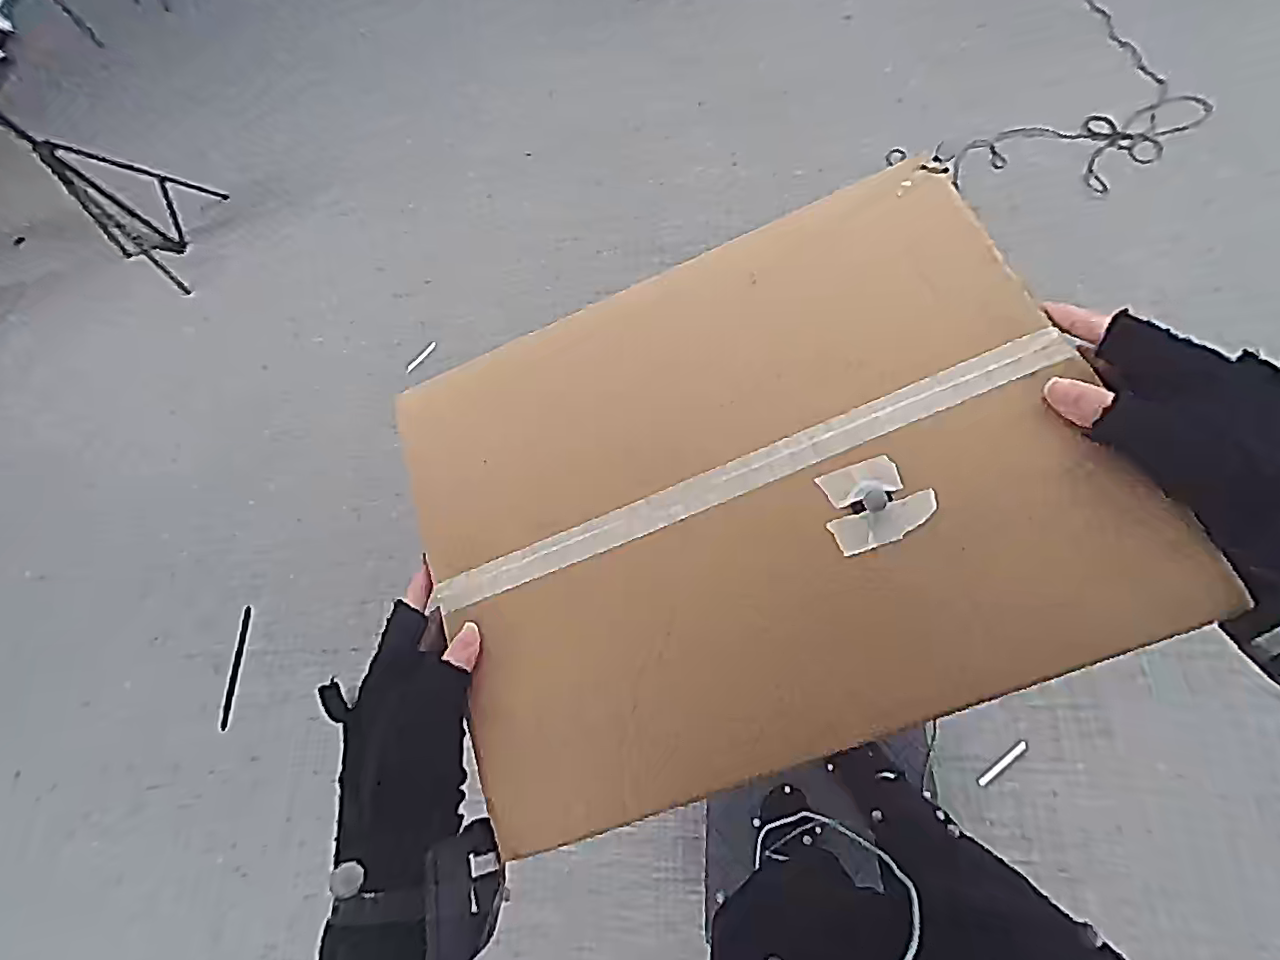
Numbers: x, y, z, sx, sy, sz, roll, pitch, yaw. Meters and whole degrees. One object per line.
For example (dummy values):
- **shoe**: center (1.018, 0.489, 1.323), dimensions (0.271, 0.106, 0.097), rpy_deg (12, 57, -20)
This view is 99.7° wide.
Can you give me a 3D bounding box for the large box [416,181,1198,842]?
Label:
- **large box**: center (0.089, 0.042, 0.485), dimensions (0.408, 0.320, 0.320), rpy_deg (-23, 72, 6)
